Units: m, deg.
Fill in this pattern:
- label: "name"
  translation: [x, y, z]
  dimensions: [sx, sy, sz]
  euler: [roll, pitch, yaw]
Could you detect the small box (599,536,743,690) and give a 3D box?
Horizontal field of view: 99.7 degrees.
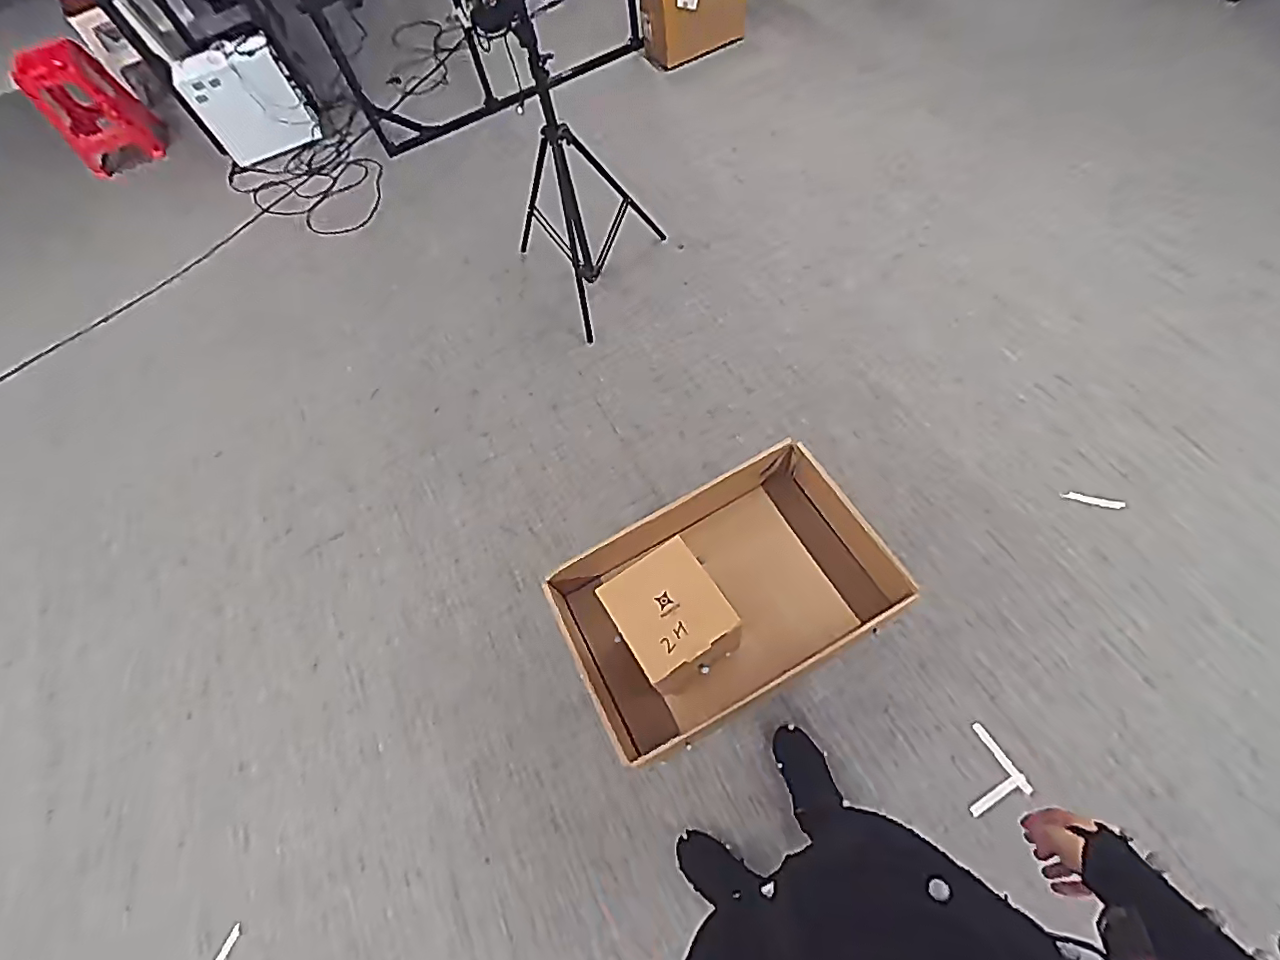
- label: "small box"
  translation: [0.053, 0.230, 0.909]
  dimensions: [0.168, 0.176, 0.179]
  euler: [-33, 64, -8]
